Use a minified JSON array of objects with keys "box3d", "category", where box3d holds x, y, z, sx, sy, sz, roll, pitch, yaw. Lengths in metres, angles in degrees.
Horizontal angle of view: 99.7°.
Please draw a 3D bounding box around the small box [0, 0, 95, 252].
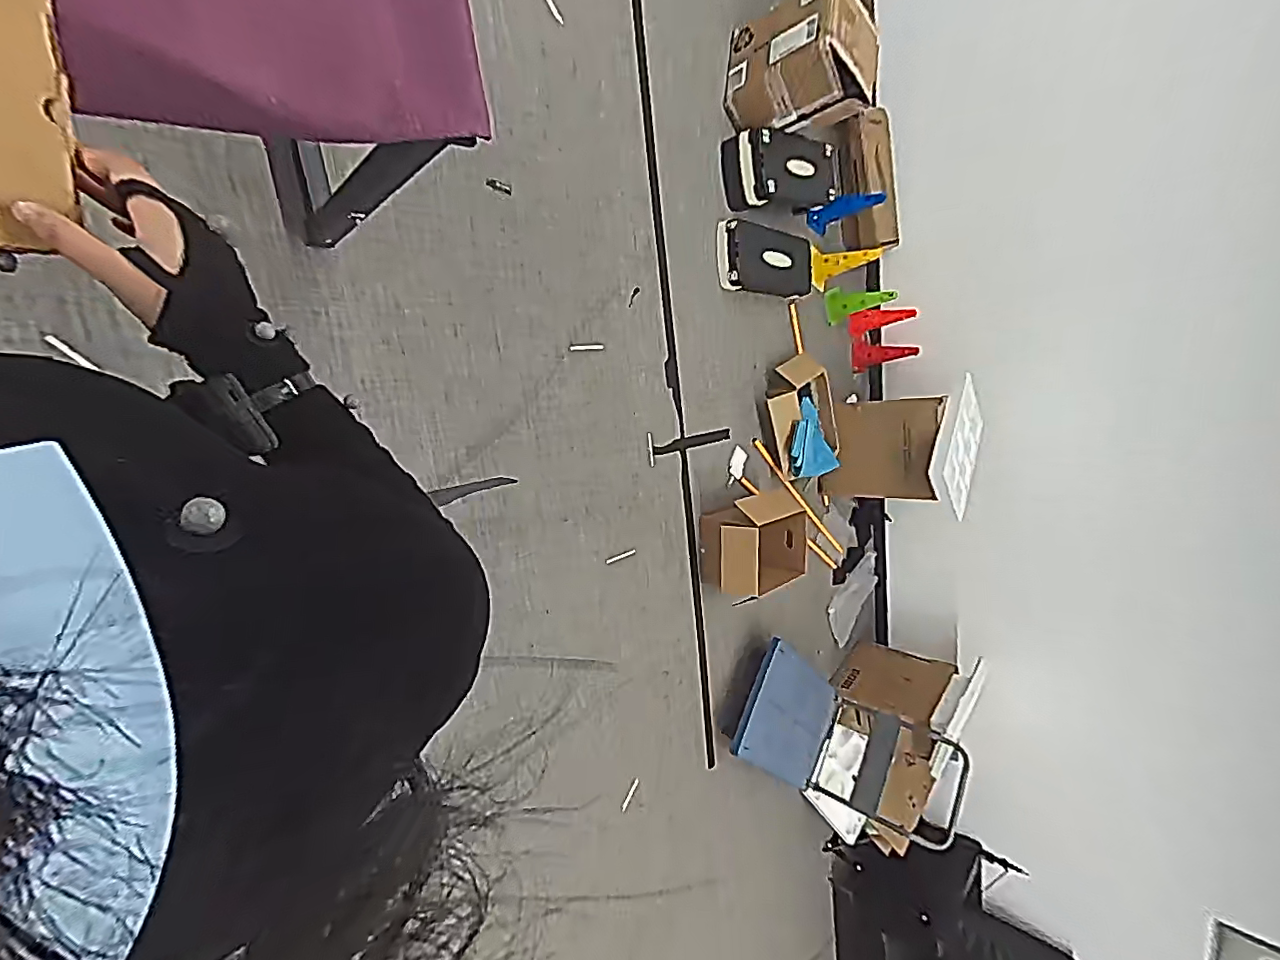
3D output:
[{"box3d":[-0.465,-0.238,0.324,0.179,0.176,0.168,-10,114,-47],"category":"small box"}]
